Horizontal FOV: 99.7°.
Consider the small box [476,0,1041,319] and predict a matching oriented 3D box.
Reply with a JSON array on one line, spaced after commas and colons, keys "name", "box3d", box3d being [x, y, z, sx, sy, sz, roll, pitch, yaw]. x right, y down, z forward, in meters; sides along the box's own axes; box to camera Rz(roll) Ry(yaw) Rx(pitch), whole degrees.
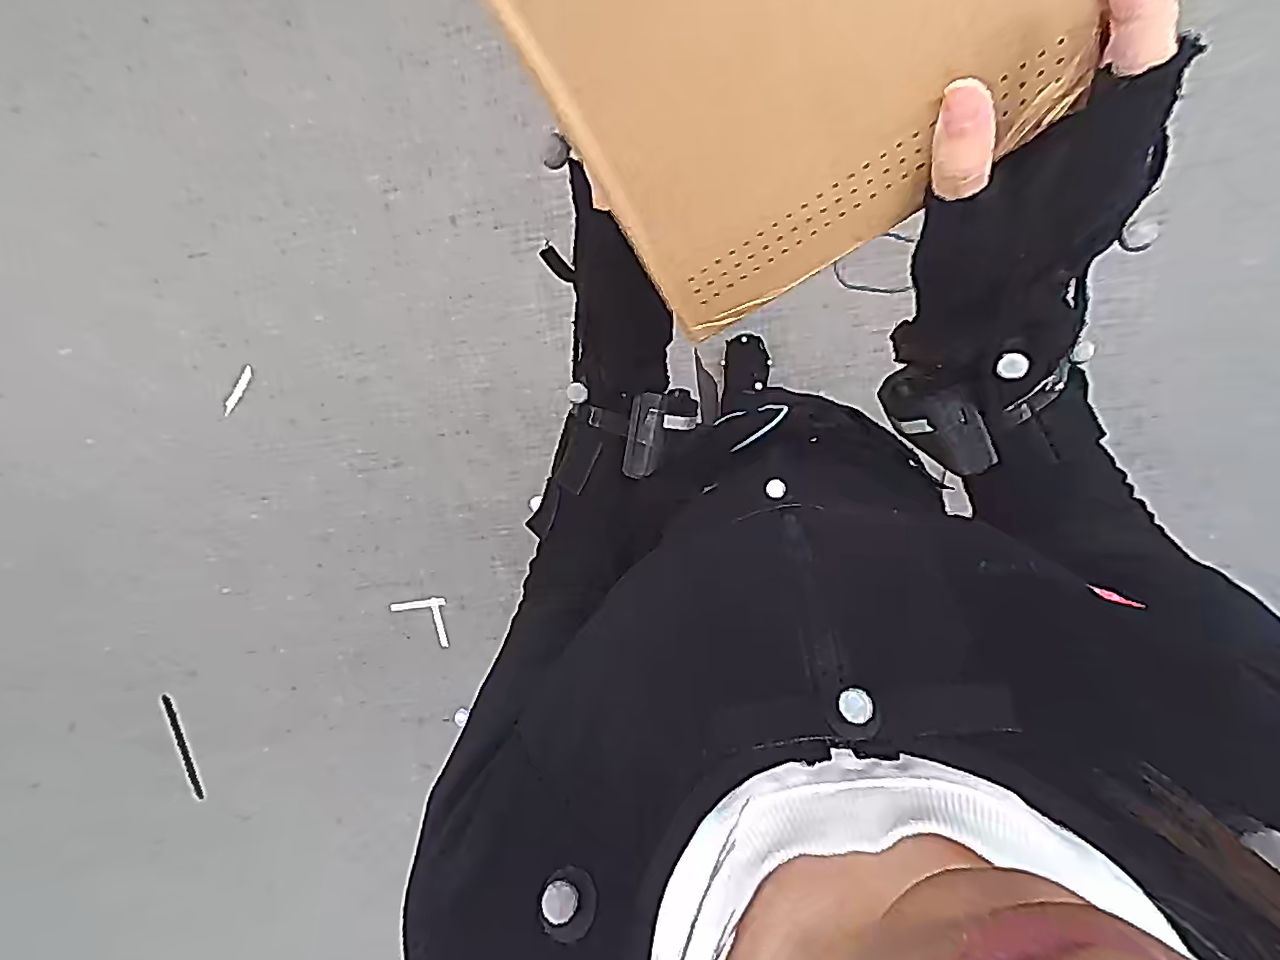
[{"name": "small box", "box3d": [0.045, -0.209, 0.243, 0.179, 0.168, 0.176, -28, 136, 16]}]
